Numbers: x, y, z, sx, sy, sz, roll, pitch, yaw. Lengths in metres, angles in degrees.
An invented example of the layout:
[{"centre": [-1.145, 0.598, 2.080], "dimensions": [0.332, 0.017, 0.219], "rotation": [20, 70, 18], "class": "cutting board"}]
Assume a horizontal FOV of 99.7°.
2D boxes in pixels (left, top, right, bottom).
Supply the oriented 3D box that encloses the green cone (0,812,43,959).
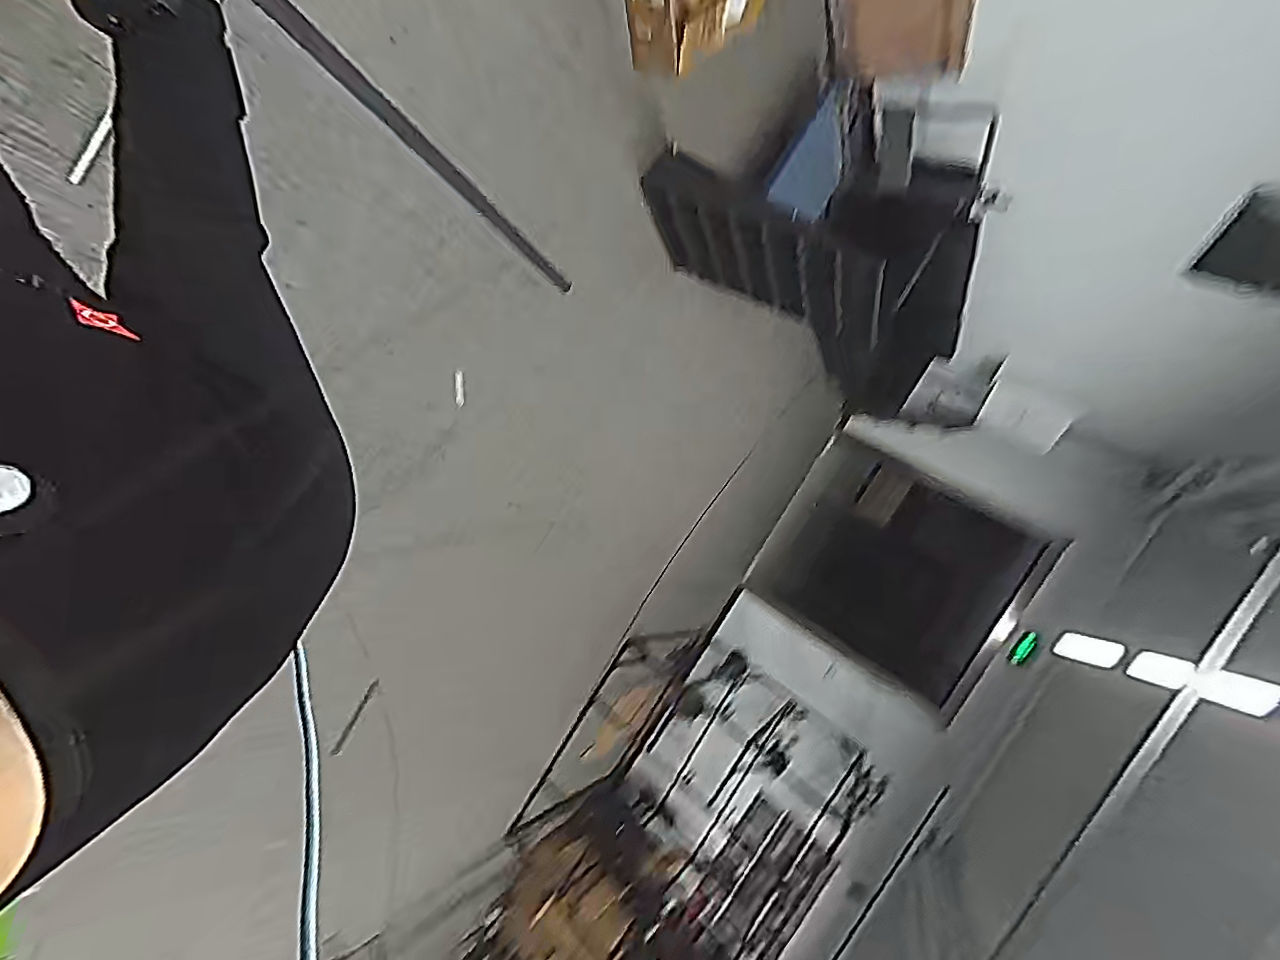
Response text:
[{"centre": [-1.610, 1.067, 1.342], "dimensions": [0.202, 0.368, 0.200], "rotation": [-31, 144, -43], "class": "green cone"}]
